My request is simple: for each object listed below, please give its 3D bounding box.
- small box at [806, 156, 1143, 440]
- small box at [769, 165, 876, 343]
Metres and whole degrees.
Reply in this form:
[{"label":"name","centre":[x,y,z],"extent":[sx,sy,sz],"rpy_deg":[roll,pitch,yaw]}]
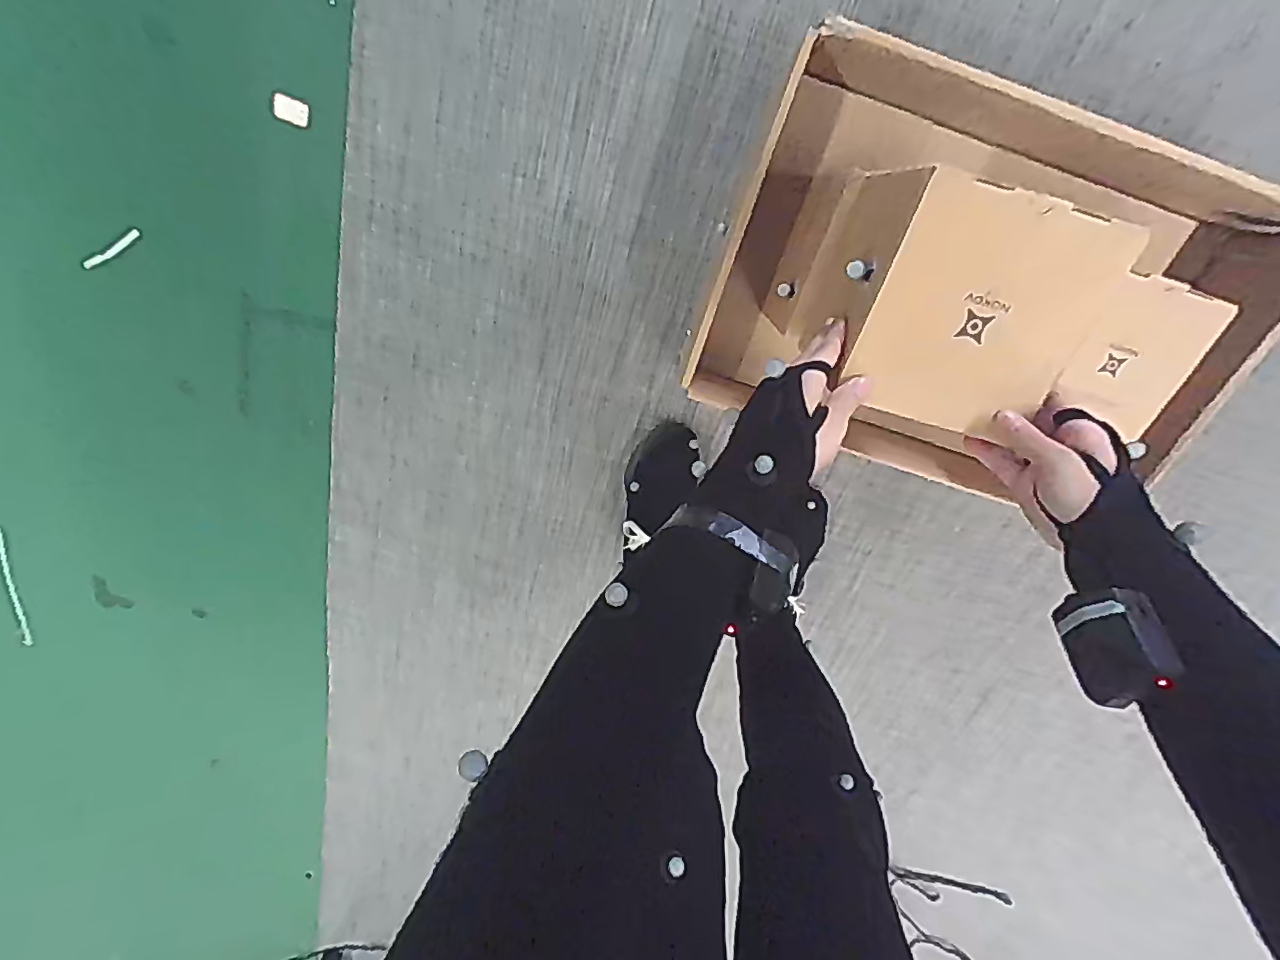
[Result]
[{"label":"small box","centre":[0.263,-0.163,0.485],"extent":[0.168,0.176,0.179],"rpy_deg":[16,116,-2]},{"label":"small box","centre":[0.266,-0.247,0.645],"extent":[0.168,0.176,0.179],"rpy_deg":[17,115,-5]}]
